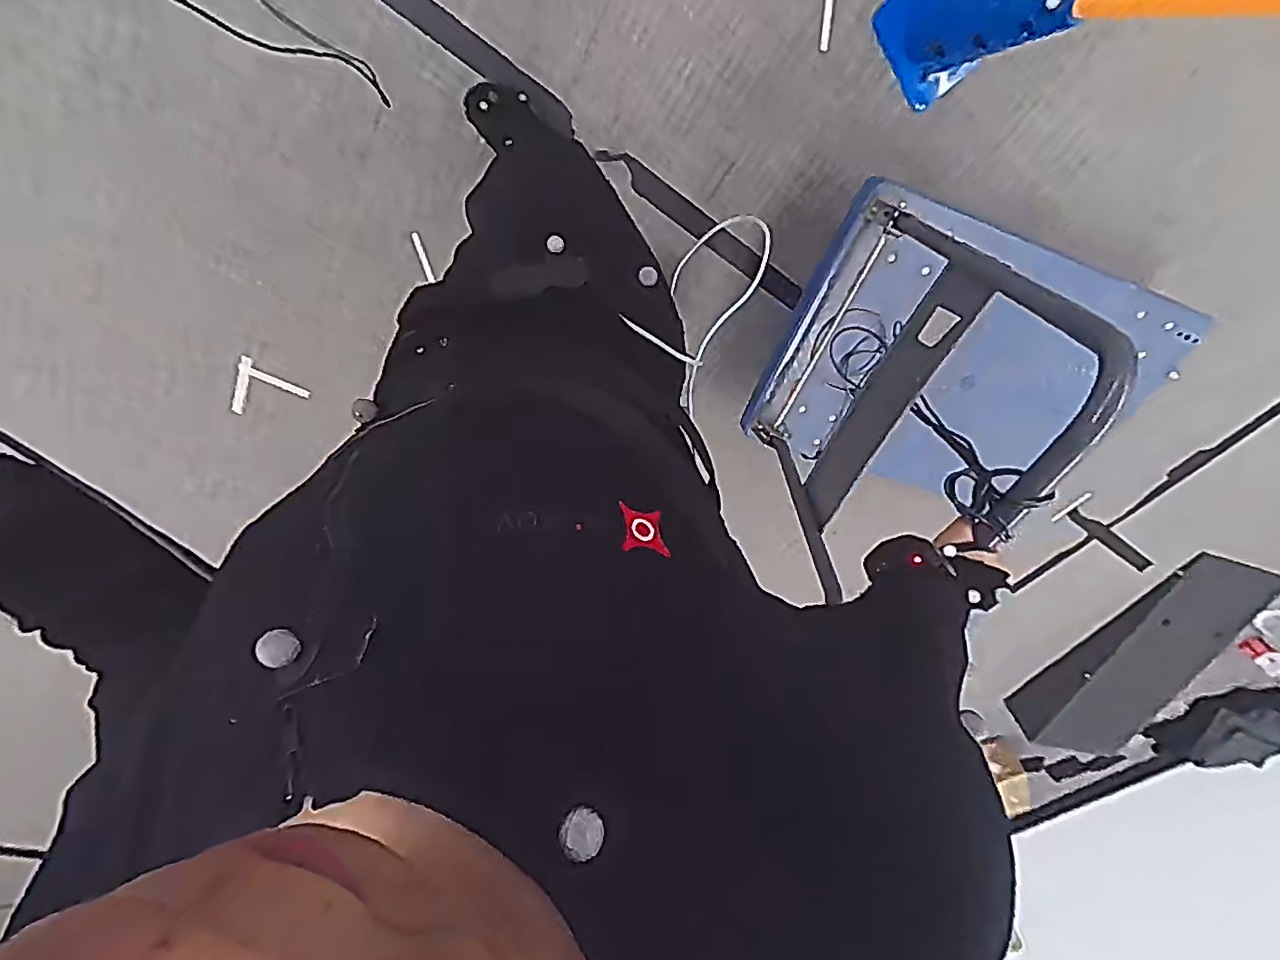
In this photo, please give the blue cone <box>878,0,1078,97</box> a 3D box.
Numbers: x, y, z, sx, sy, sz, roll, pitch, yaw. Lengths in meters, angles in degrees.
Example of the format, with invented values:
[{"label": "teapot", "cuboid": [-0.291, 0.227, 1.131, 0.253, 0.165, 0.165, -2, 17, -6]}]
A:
[{"label": "blue cone", "cuboid": [0.546, -0.723, 0.823, 0.193, 0.380, 0.192, -36, 120, 22]}]
